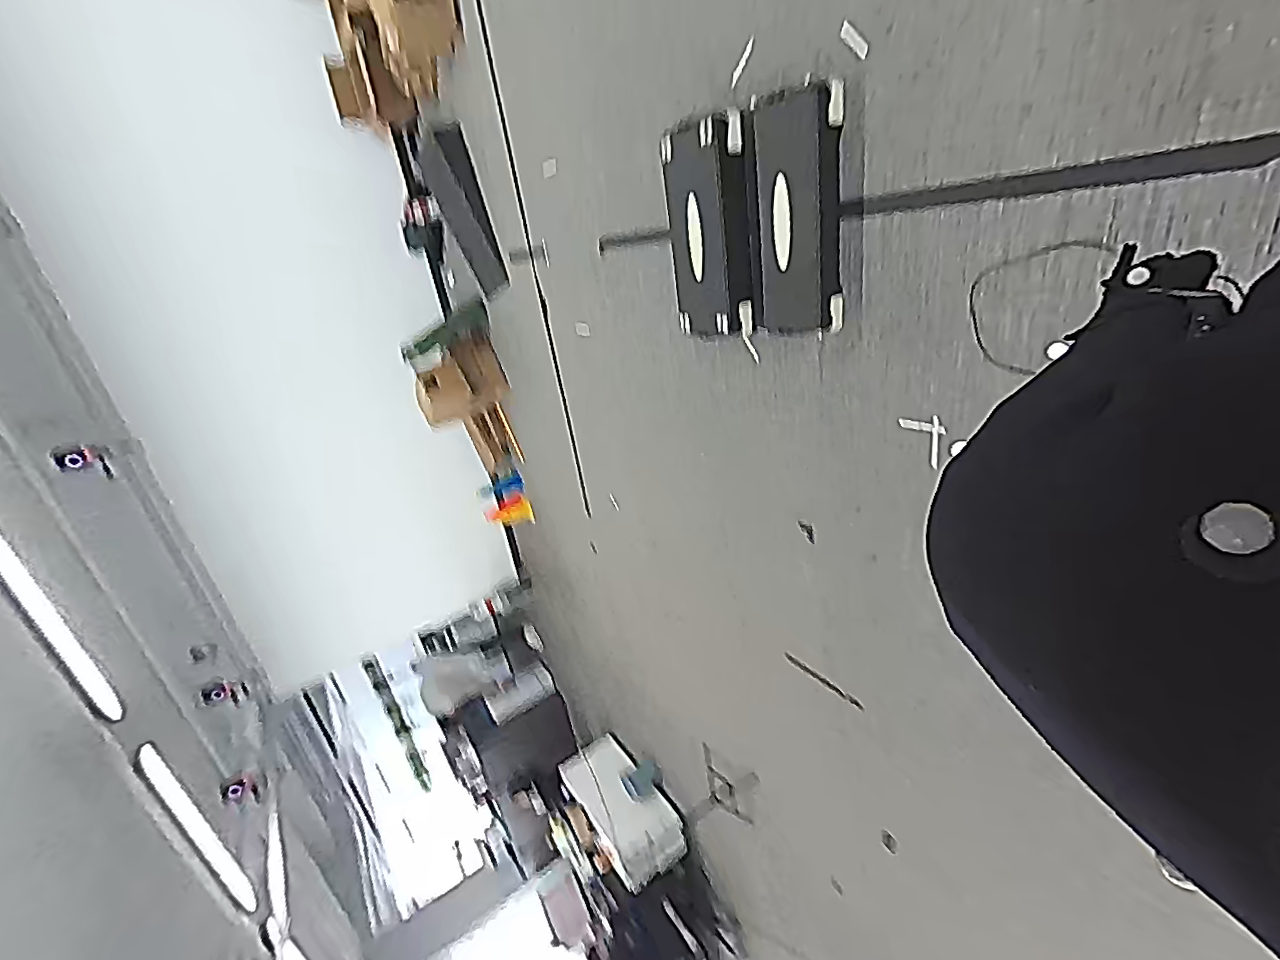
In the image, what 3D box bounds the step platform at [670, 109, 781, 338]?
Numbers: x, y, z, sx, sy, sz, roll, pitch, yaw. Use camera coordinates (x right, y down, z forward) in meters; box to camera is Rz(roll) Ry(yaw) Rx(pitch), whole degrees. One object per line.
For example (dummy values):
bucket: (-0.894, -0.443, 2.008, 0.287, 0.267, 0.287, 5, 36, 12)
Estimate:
step platform: (0.287, -0.828, 1.817, 0.286, 0.204, 0.684, 23, 128, 52)
